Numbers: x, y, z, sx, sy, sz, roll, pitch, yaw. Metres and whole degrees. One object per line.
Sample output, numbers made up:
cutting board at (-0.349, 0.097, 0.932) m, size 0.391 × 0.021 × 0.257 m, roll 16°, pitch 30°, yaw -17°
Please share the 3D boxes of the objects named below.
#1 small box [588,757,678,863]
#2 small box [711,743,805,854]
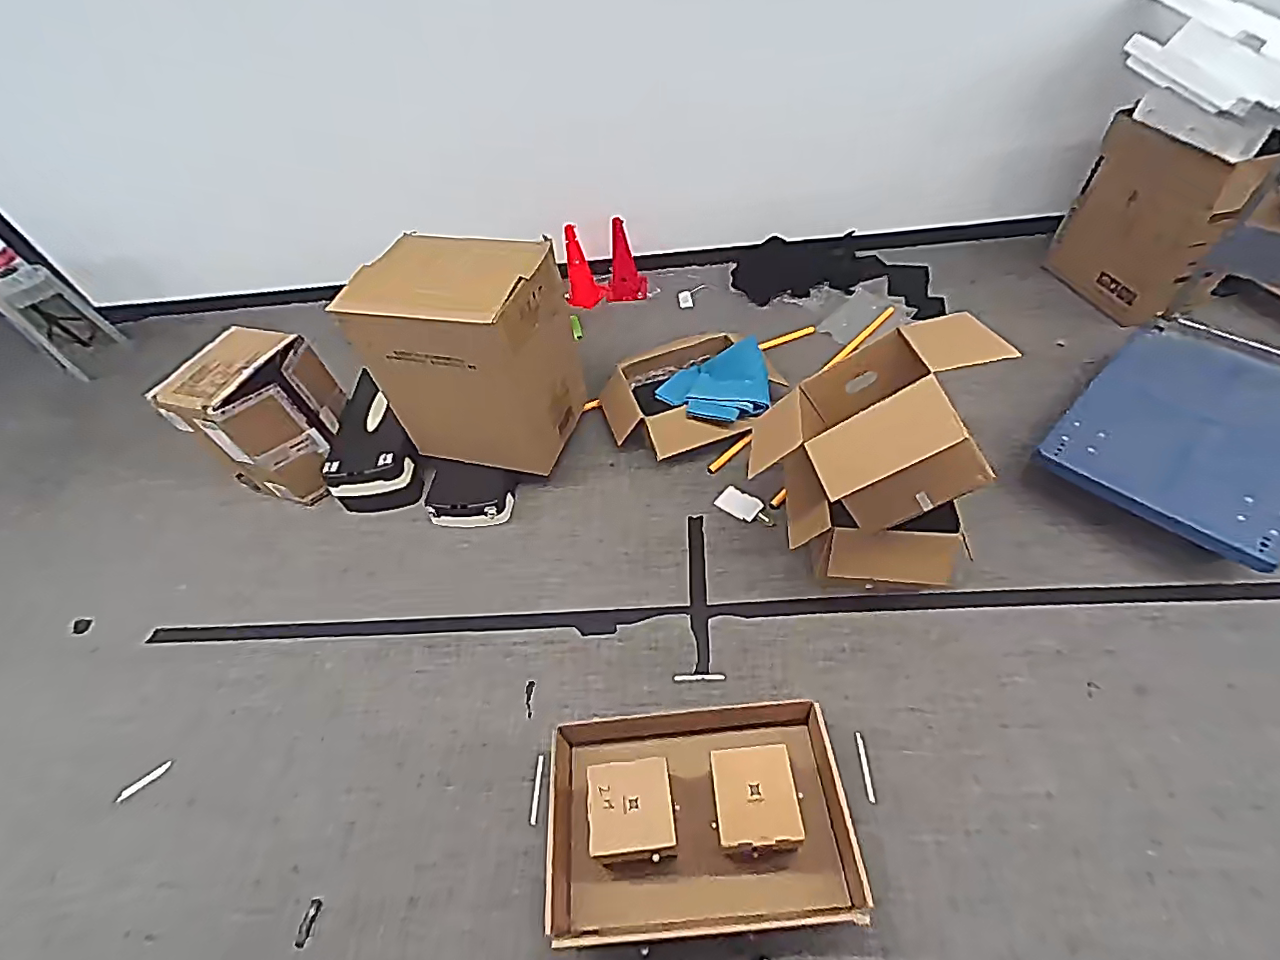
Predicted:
small box at (-0.013, 0.719, 1.175) m, size 0.179 × 0.176 × 0.168 m, roll -8°, pitch 49°, yaw 0°
small box at (0.244, 0.689, 1.167) m, size 0.168 × 0.176 × 0.179 m, roll -7°, pitch 51°, yaw 3°
